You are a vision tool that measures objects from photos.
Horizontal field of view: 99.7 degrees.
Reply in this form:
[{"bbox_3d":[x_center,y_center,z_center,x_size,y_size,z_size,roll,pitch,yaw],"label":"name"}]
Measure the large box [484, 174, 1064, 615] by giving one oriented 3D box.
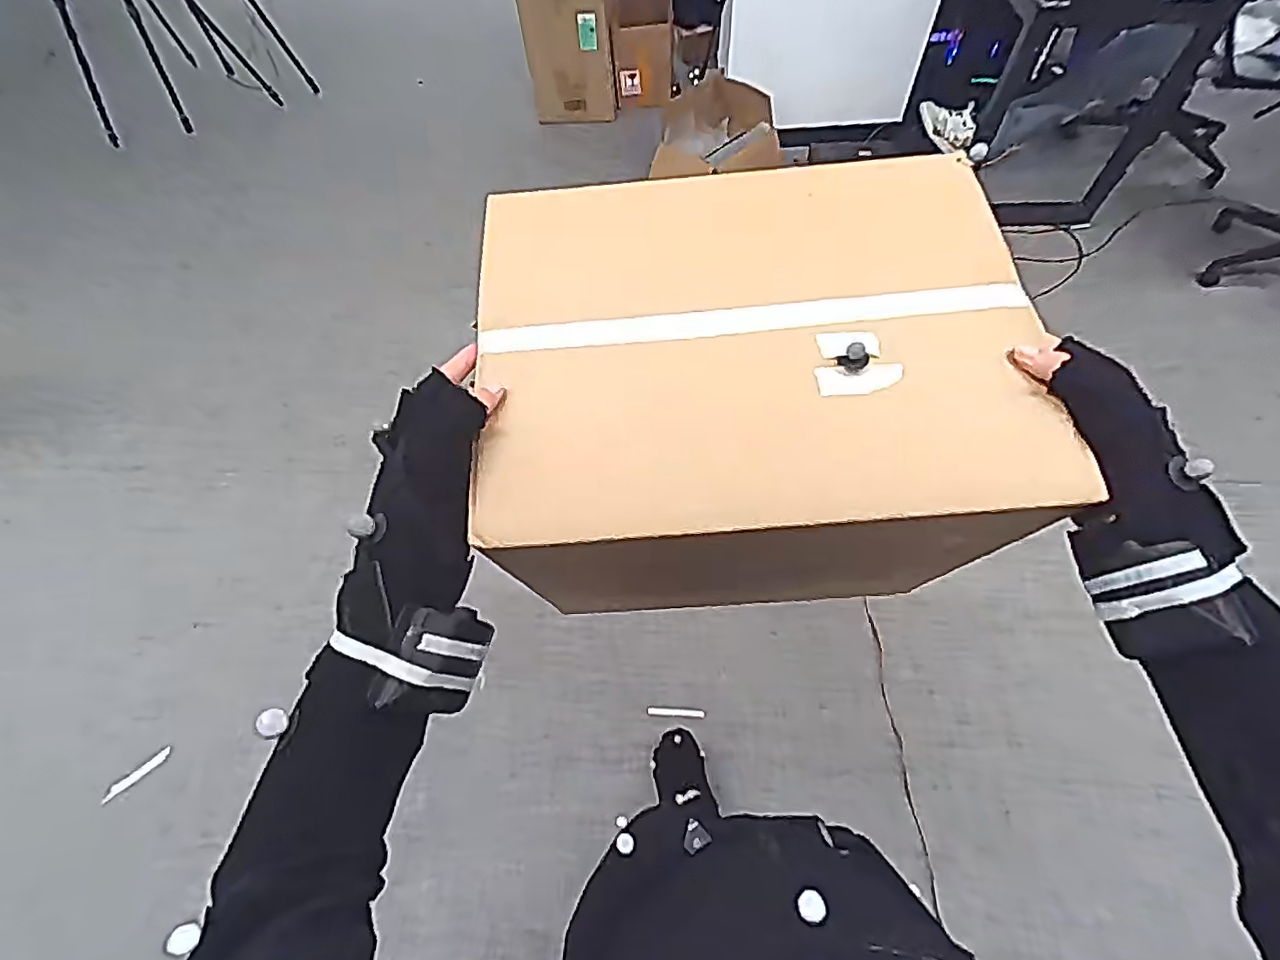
[{"bbox_3d":[0.084,-0.055,0.559,0.408,0.320,0.320,-5,68,1],"label":"large box"}]
